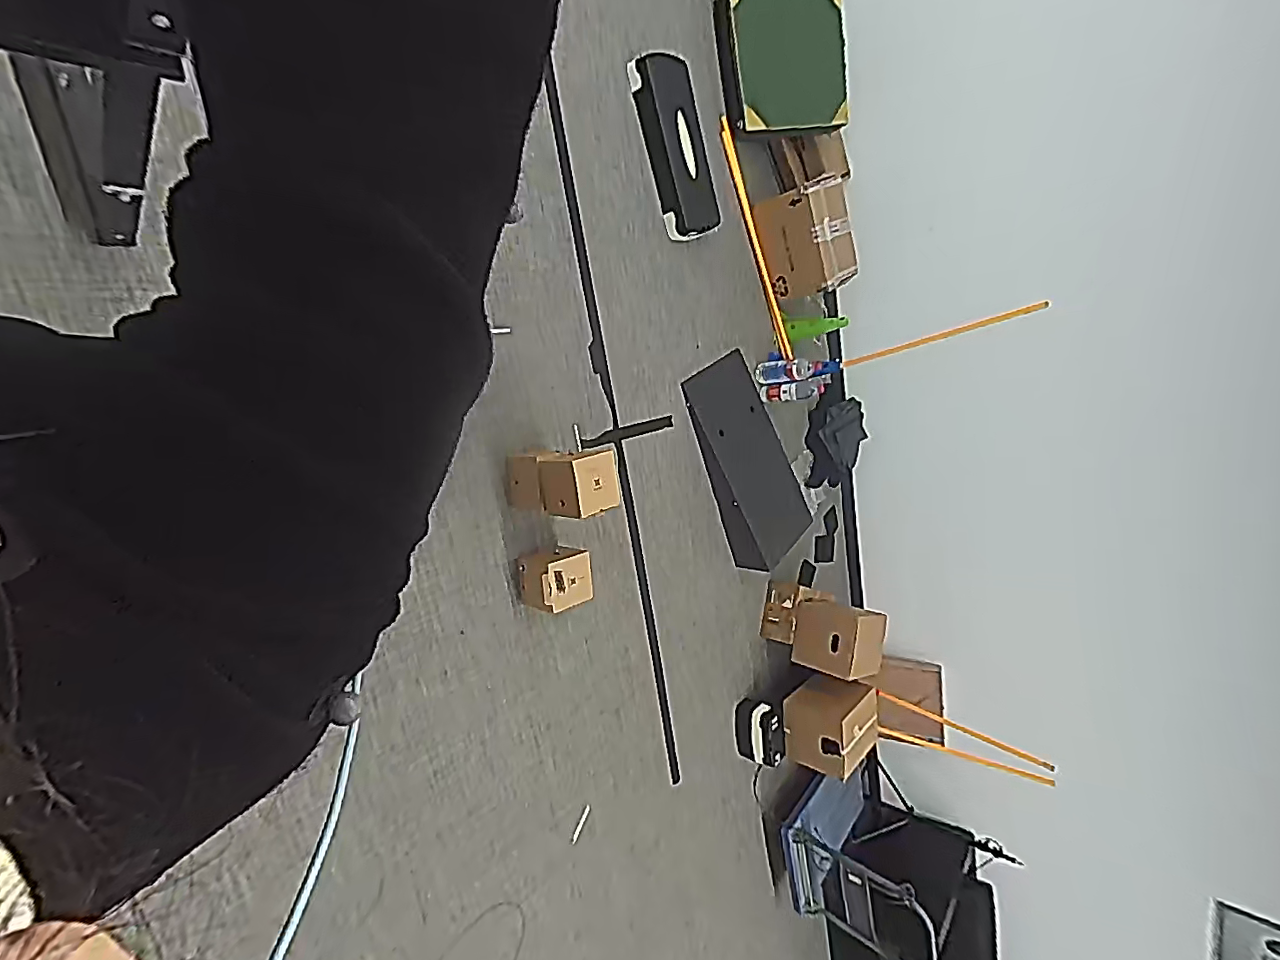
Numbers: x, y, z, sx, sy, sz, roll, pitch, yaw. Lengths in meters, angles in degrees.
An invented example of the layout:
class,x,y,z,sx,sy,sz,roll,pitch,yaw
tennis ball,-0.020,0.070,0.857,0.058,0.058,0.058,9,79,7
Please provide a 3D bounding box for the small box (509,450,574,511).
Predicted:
class,x,y,z,sx,sy,sz,roll,pitch,yaw
small box,-0.306,-0.004,1.758,0.168,0.176,0.179,-13,101,-45

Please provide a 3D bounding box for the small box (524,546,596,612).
class,x,y,z,sx,sy,sz,roll,pitch,yaw
small box,-0.274,0.324,1.805,0.179,0.176,0.168,-13,101,-46

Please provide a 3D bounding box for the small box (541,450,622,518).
class,x,y,z,sx,sy,sz,roll,pitch,yaw
small box,-0.179,0.007,1.655,0.168,0.176,0.179,-19,104,-44
